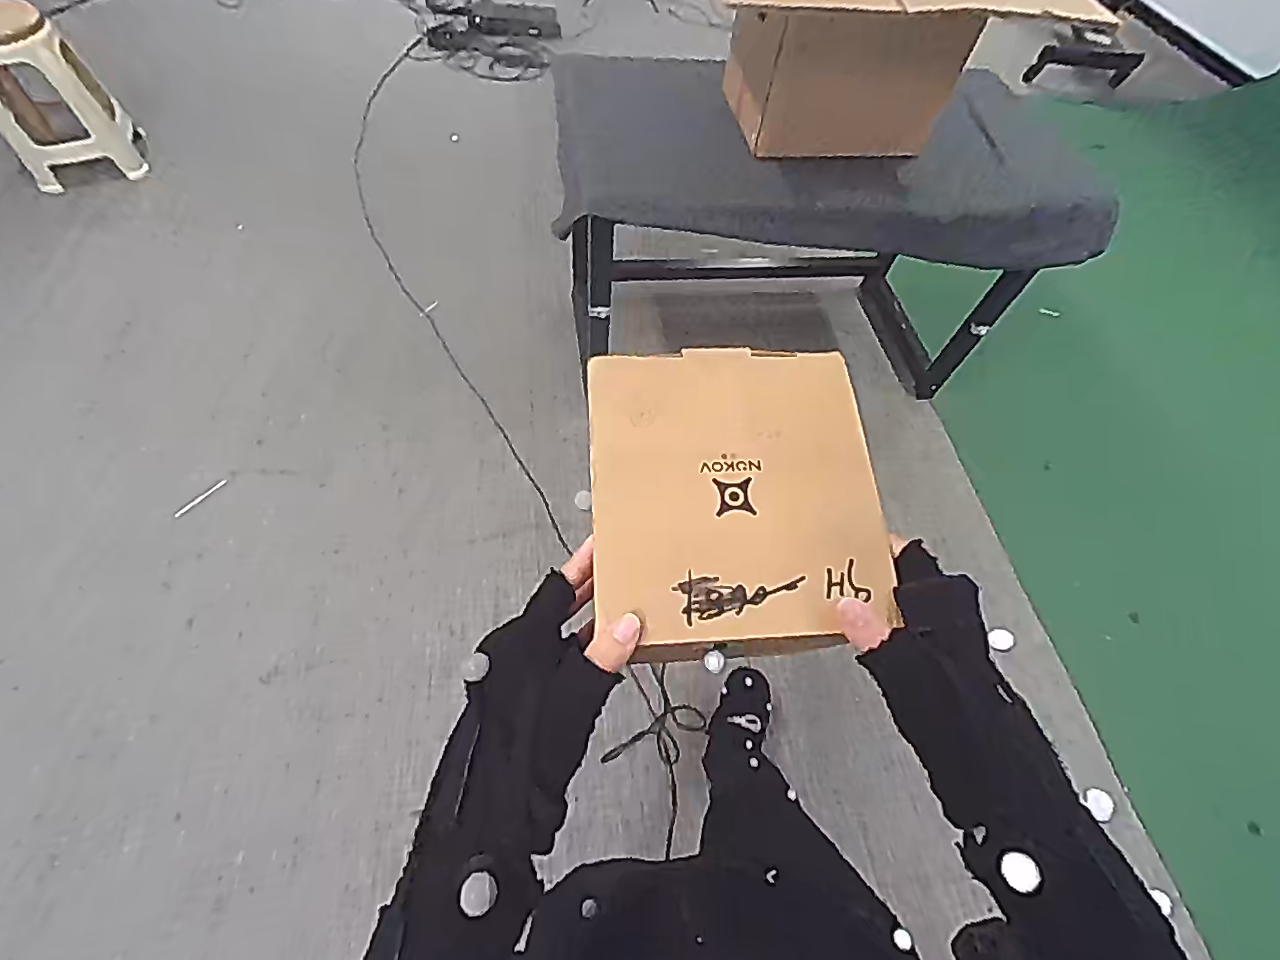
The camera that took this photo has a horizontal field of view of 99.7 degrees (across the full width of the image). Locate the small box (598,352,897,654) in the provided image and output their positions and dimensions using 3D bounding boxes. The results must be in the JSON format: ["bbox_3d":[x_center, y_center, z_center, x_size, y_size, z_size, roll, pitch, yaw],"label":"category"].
[{"bbox_3d":[0.053,0.027,0.396,0.168,0.176,0.179,-2,68,-3],"label":"small box"}]
